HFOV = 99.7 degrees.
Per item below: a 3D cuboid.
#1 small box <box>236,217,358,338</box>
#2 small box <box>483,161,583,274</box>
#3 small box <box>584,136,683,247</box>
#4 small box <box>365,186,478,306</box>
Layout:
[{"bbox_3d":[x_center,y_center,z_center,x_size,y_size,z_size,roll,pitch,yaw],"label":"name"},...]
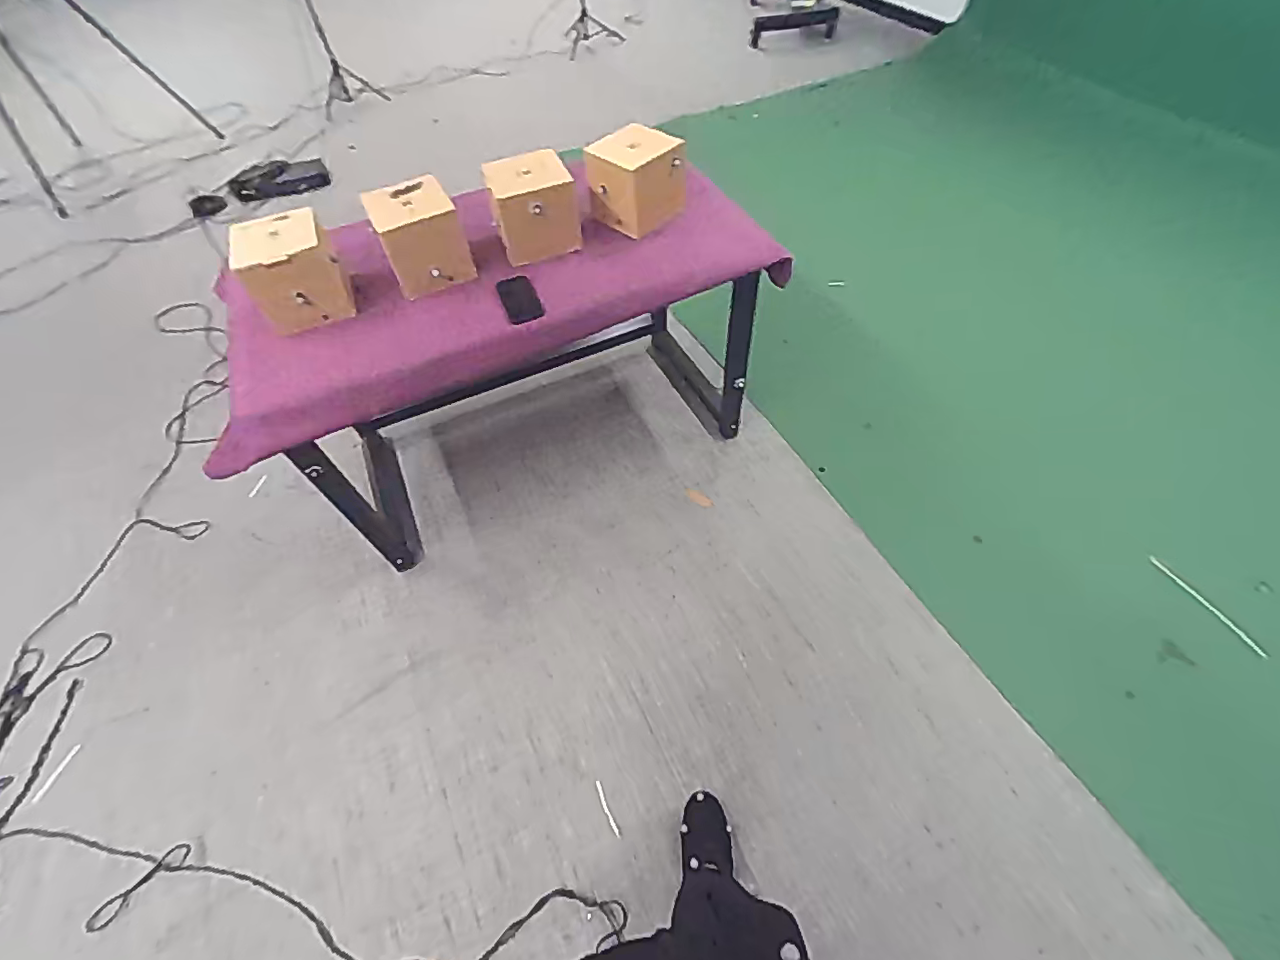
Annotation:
[{"bbox_3d":[-0.731,-0.428,1.165,0.168,0.176,0.179,-21,57,-12],"label":"small box"},{"bbox_3d":[-0.247,-0.611,1.269,0.179,0.176,0.168,-19,56,-10],"label":"small box"},{"bbox_3d":[-0.009,-0.699,1.316,0.168,0.176,0.179,37,64,26],"label":"small box"},{"bbox_3d":[-0.487,-0.525,1.220,0.168,0.176,0.179,-25,58,-14],"label":"small box"}]
